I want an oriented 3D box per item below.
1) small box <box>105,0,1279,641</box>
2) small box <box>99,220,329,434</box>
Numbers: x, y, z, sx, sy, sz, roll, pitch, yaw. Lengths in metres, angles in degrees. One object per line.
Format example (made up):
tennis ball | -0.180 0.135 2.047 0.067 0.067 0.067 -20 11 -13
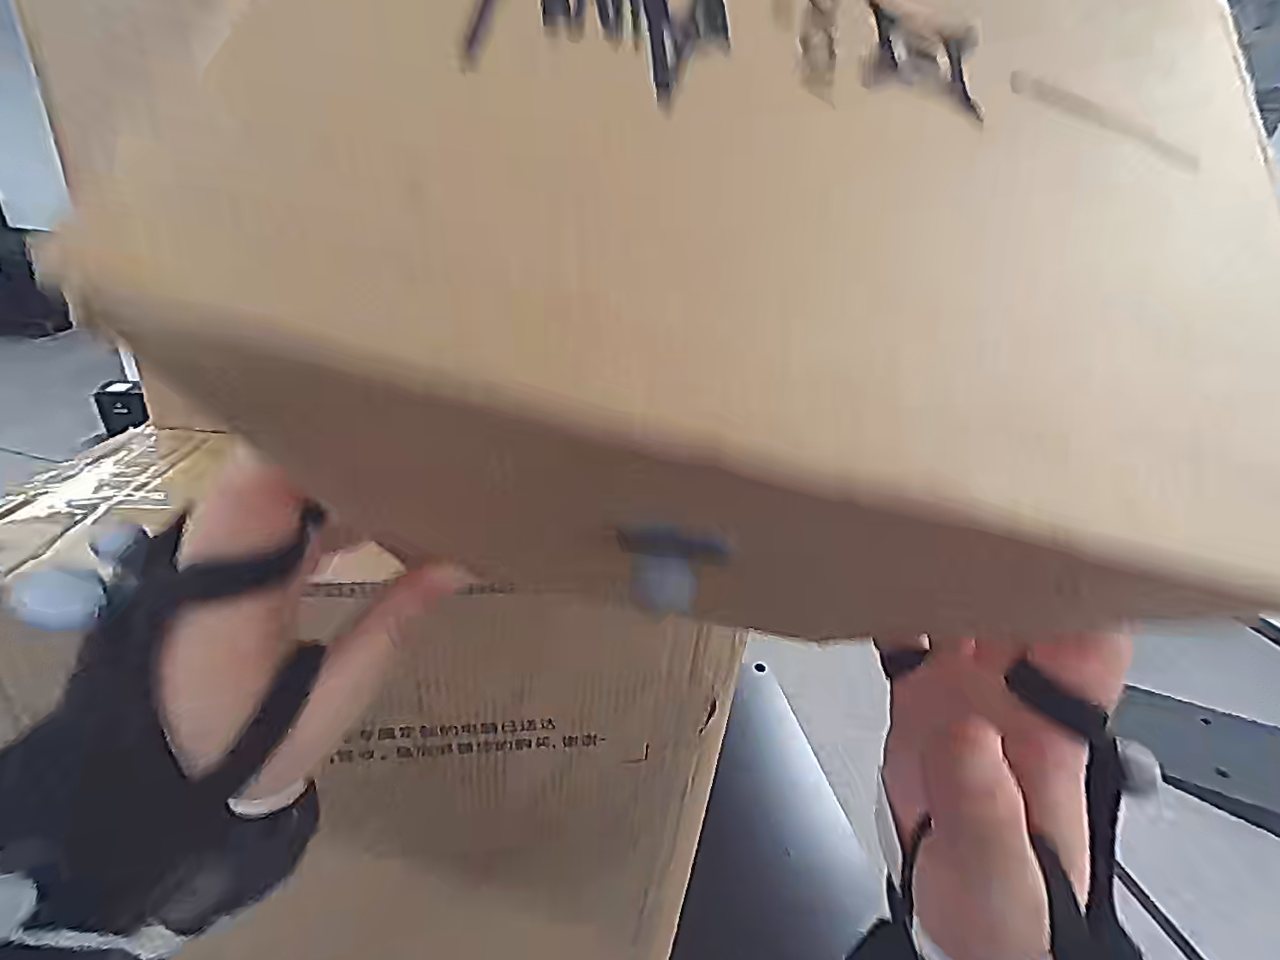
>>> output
small box | 0.027 -0.048 0.165 0.179 0.168 0.176 13 -19 -8
small box | -0.341 -0.151 0.520 0.168 0.176 0.179 2 26 -12
